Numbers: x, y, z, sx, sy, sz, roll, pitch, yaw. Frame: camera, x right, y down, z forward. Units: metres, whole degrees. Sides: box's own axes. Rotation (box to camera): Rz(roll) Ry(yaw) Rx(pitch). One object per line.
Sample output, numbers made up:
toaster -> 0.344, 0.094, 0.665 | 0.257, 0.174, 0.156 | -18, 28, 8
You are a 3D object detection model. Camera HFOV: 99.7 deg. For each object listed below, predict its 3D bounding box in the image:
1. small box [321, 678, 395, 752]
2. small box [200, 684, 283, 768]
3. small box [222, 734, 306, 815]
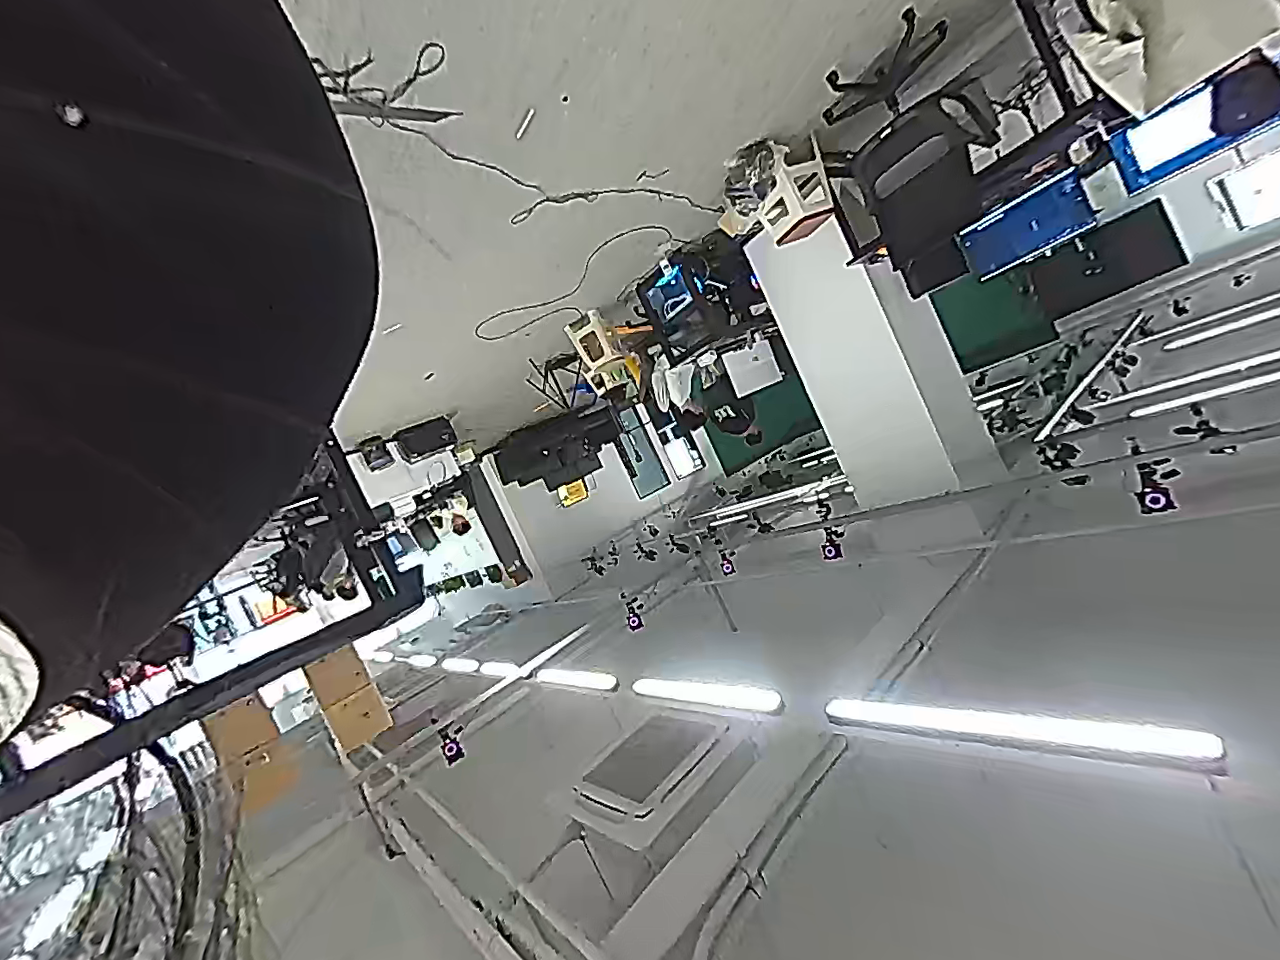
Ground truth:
small box -> -0.995, 0.817, 1.898 | 0.168, 0.176, 0.179 | -27, -175, -38
small box -> -1.266, 0.772, 1.716 | 0.168, 0.176, 0.179 | -26, -175, -39
small box -> -1.202, 0.921, 1.726 | 0.168, 0.176, 0.179 | -28, -176, -39
